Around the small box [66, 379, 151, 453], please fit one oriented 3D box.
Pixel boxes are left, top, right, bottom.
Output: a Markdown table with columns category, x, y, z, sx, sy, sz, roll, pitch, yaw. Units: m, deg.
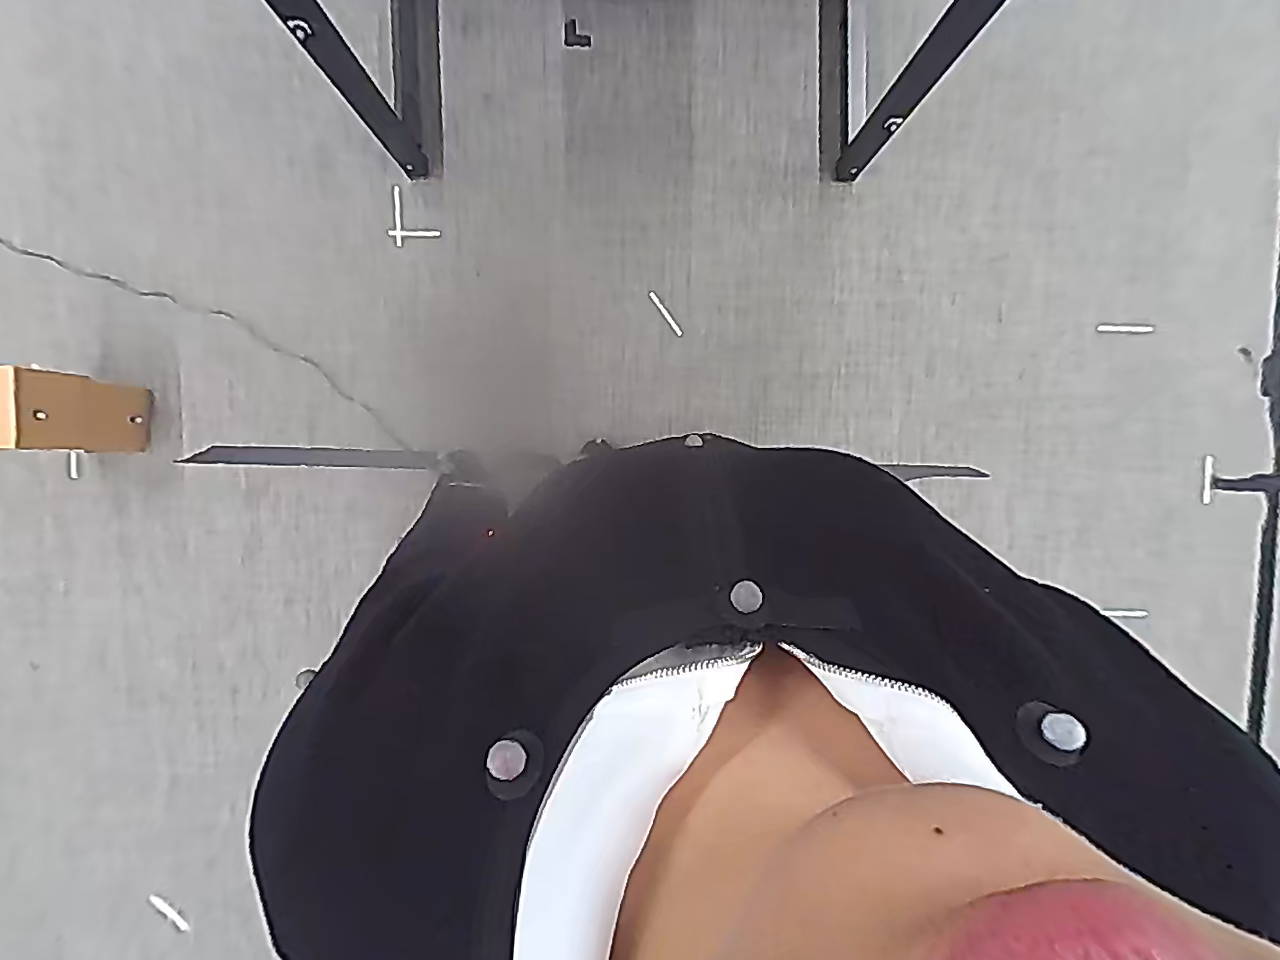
| category | x | y | z | sx | sy | sz | roll | pitch | yaw |
| --- | --- | --- | --- | --- | --- | --- | --- | --- | --- |
| small box | -1.396 | -0.165 | 1.371 | 0.168 | 0.176 | 0.179 | 7 | 93 | -2 |

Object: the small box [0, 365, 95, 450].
| category | x | y | z | sx | sy | sz | roll | pitch | yaw |
| --- | --- | --- | --- | --- | --- | --- | --- | --- | --- |
| small box | -1.375 | -0.159 | 1.206 | 0.168 | 0.176 | 0.179 | 2 | 93 | -2 |
